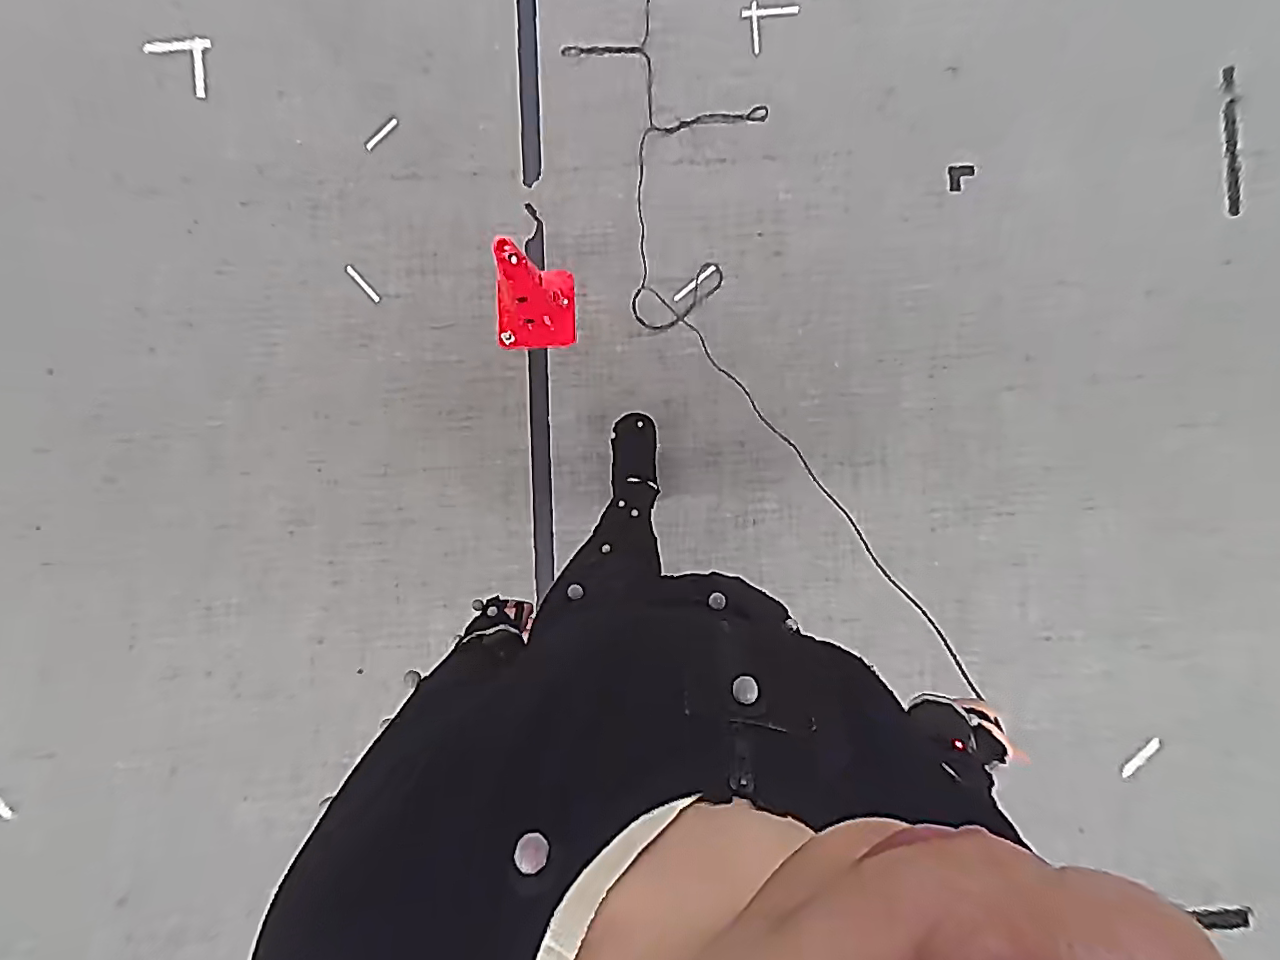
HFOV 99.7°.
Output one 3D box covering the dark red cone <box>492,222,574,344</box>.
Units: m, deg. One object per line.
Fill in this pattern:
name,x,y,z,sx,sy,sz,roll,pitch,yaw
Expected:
dark red cone,-0.264,-0.448,1.196,0.201,0.394,0.202,-3,88,-2
